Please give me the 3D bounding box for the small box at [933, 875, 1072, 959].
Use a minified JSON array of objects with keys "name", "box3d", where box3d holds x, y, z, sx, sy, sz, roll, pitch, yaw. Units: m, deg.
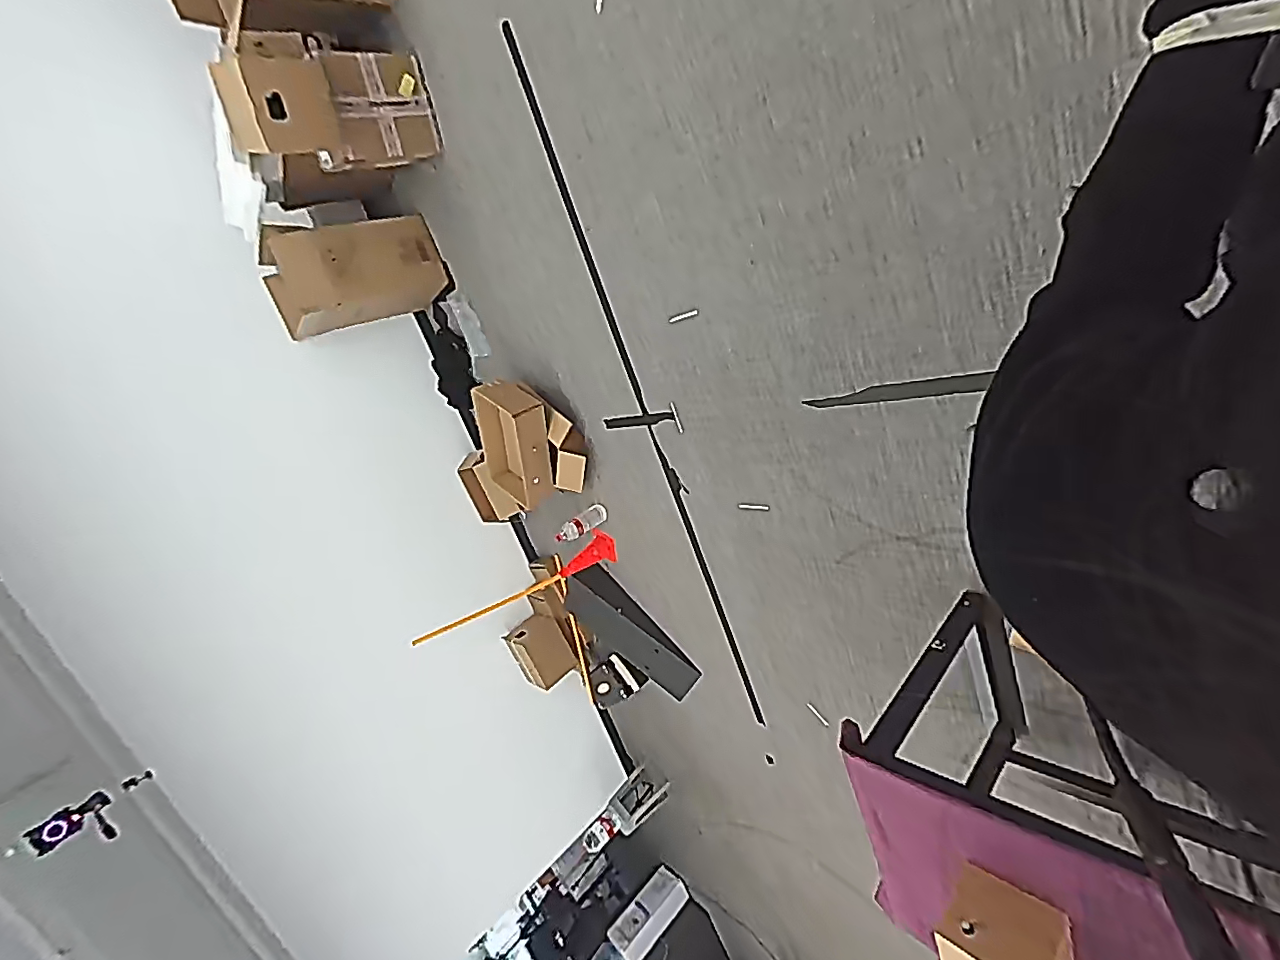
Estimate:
[{"name":"small box","box3d":[0.695,0.910,1.035,0.179,0.176,0.168,3,119,51]}]
